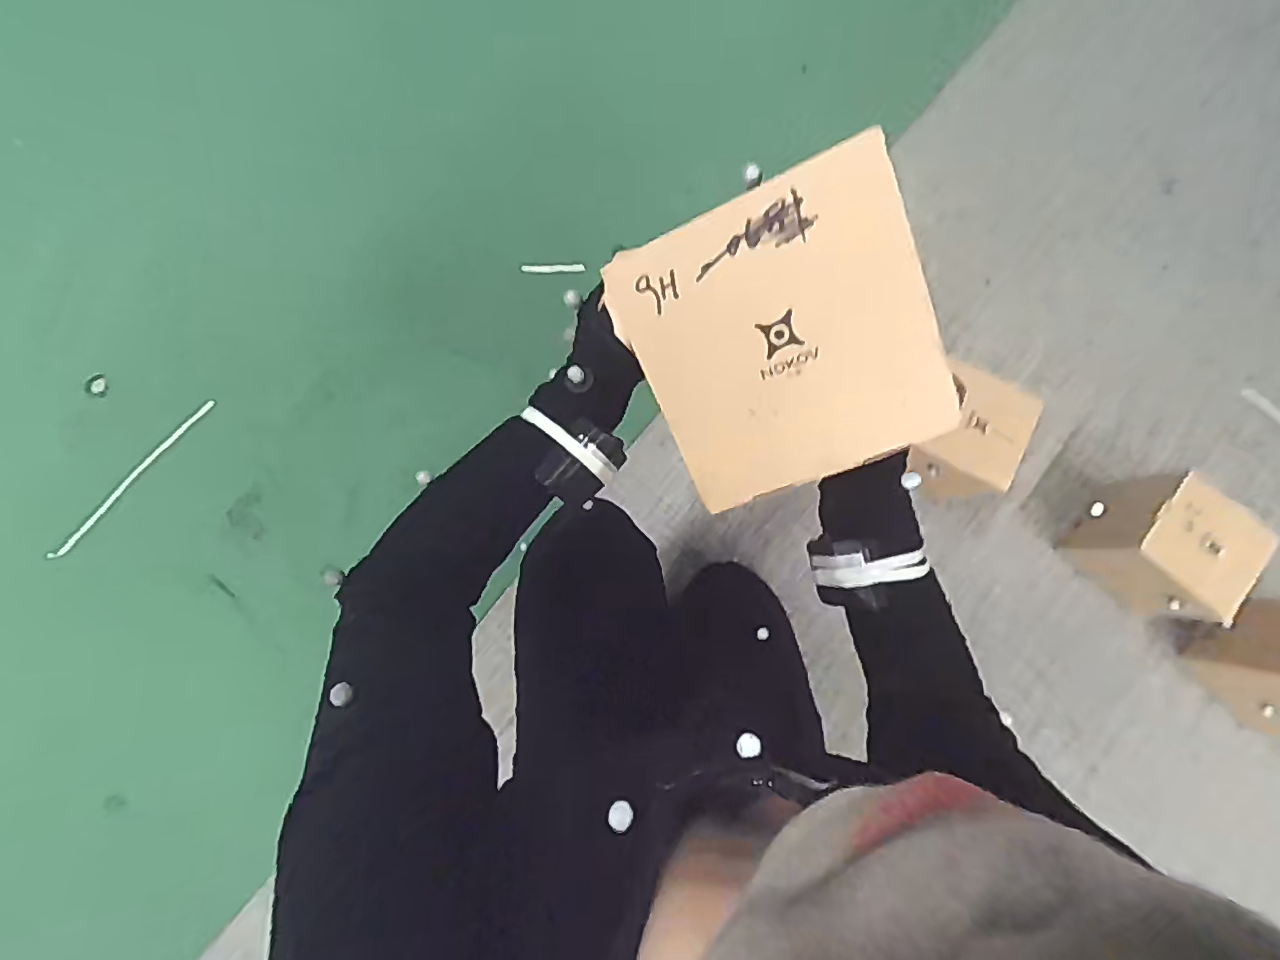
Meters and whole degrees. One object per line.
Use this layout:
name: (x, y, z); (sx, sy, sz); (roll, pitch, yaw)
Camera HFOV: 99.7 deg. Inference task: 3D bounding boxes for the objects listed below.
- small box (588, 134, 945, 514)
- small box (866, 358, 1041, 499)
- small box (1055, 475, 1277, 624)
small box: (0.087, -0.107, 0.392); (0.168, 0.176, 0.179); (-21, 108, 15)
small box: (0.525, -0.077, 0.935); (0.179, 0.176, 0.168); (28, 82, 2)
small box: (0.874, 0.115, 0.916); (0.179, 0.176, 0.168); (41, 82, 4)
